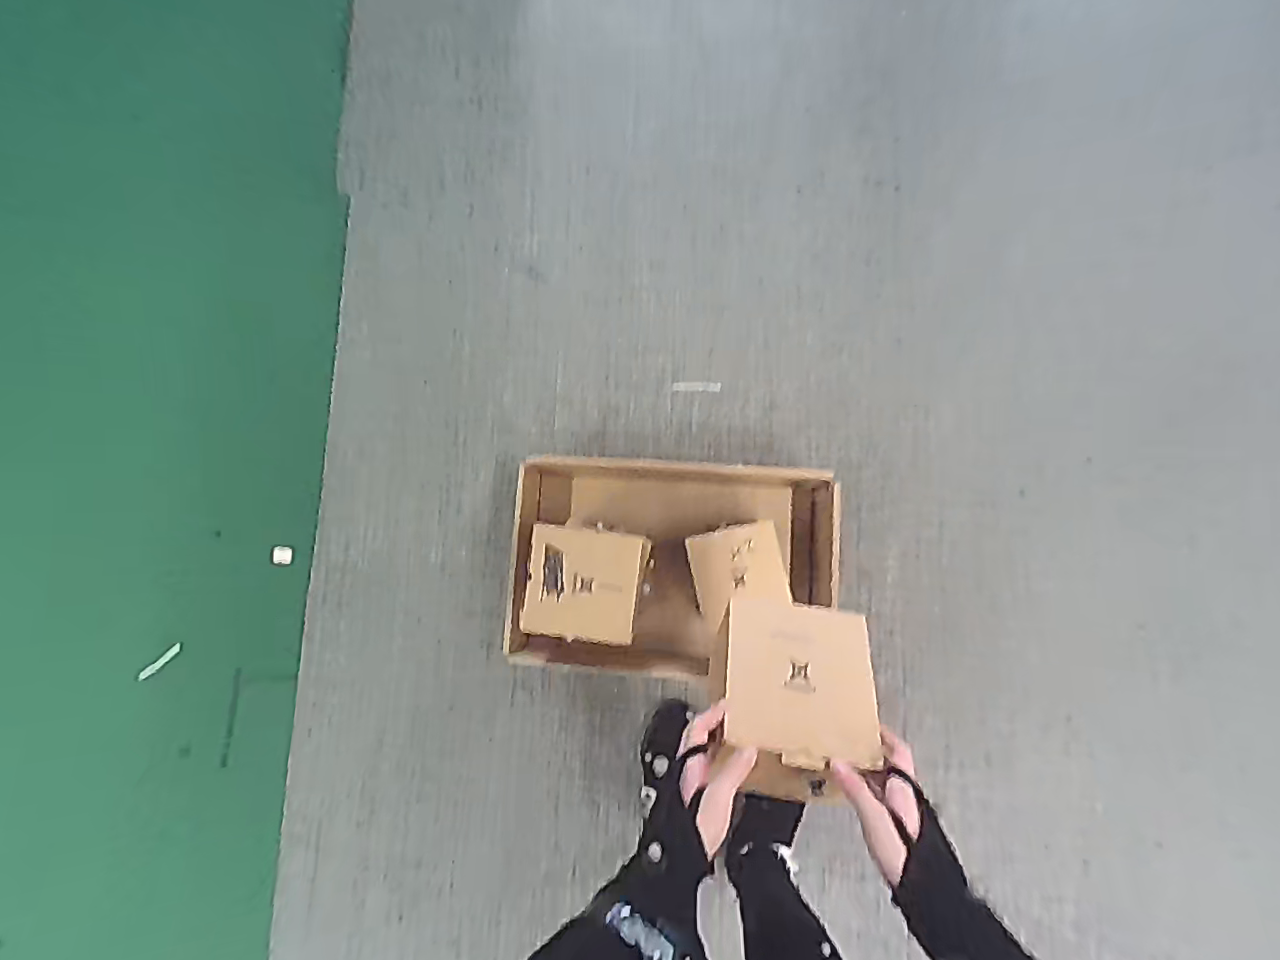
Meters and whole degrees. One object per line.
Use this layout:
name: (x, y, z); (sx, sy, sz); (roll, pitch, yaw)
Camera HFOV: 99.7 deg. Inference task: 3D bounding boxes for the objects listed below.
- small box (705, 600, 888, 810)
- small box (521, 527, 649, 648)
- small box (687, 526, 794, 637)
small box: (0.174, 0.272, 0.646); (0.168, 0.176, 0.179); (9, 49, 4)
small box: (-0.083, 0.175, 0.912); (0.179, 0.176, 0.168); (7, 83, 4)
small box: (0.189, 0.190, 1.054); (0.168, 0.176, 0.179); (-12, 82, 3)
